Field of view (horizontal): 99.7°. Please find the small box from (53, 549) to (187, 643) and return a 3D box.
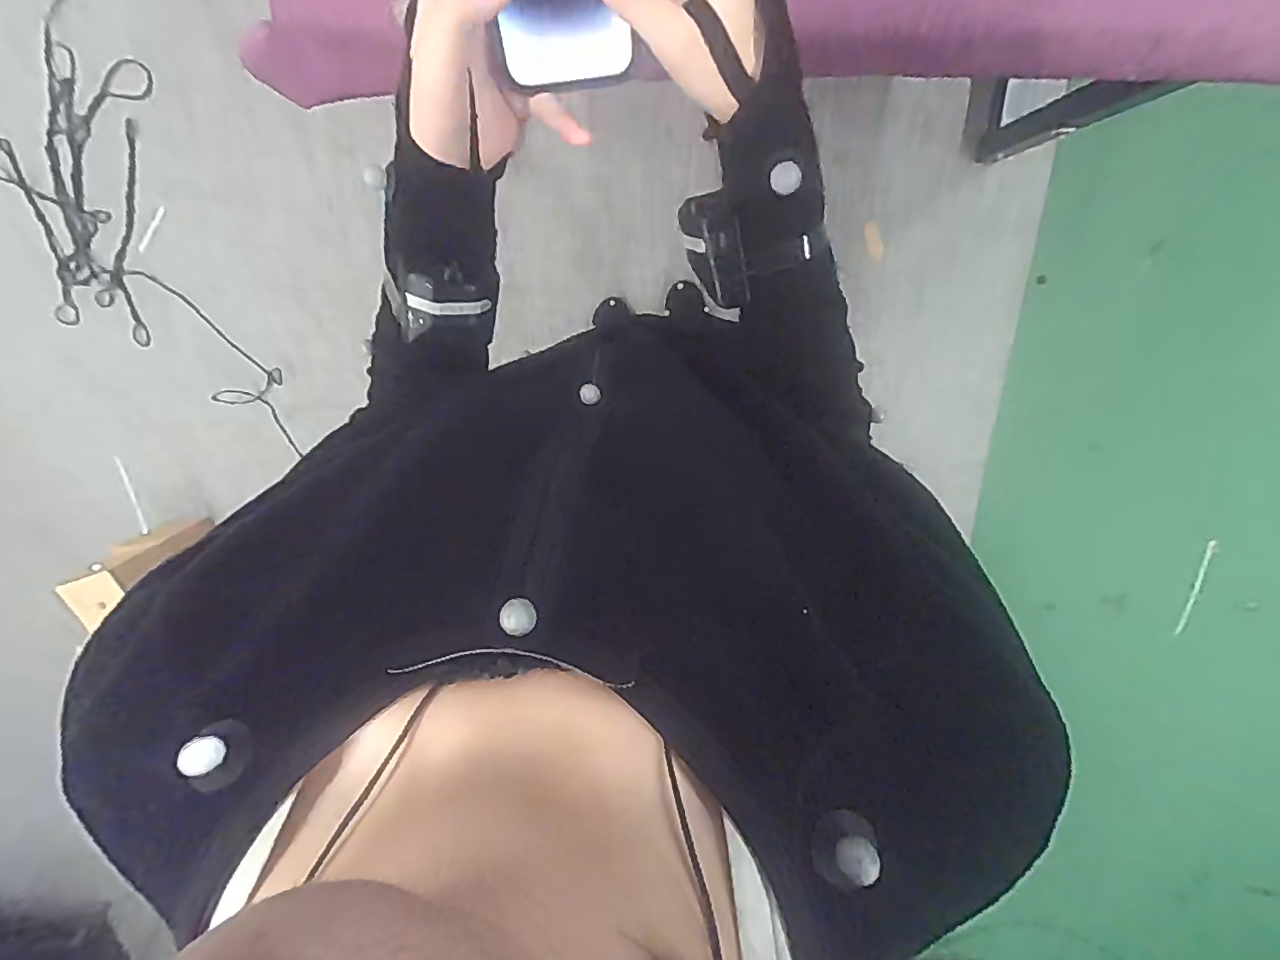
[{"bbox_3d":[-1.388,0.307,1.463,0.179,0.176,0.168,-16,108,9],"label":"small box"}]
